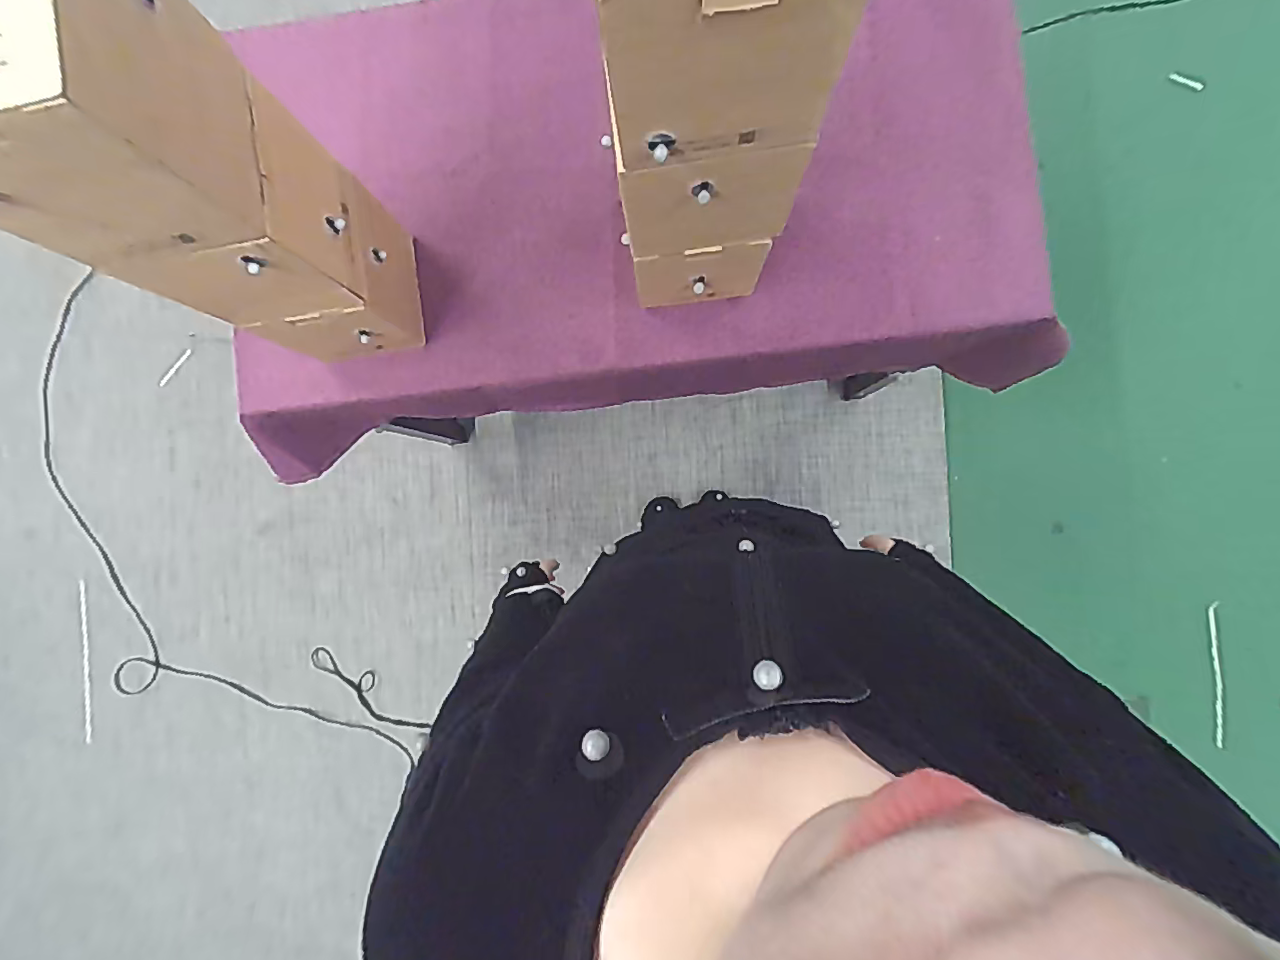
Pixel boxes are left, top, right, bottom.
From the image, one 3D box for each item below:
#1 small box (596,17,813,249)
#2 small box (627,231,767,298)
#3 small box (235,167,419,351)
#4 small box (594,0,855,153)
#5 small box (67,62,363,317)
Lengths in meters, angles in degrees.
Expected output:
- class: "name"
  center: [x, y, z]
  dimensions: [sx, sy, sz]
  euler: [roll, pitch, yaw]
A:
- class: "small box"
  center: [0.060, -0.354, 0.548]
  dimensions: [0.179, 0.176, 0.168]
  euler: [-6, 89, 3]
- class: "small box"
  center: [0.066, -0.352, 0.713]
  dimensions: [0.168, 0.176, 0.179]
  euler: [-6, 89, 3]
- class: "small box"
  center: [-0.419, -0.283, 0.737]
  dimensions: [0.168, 0.176, 0.179]
  euler: [-7, 88, 2]
- class: "small box"
  center: [0.051, -0.364, 0.383]
  dimensions: [0.168, 0.176, 0.179]
  euler: [-7, 87, 3]
- class: "small box"
  center: [-0.431, -0.288, 0.575]
  dimensions: [0.179, 0.176, 0.168]
  euler: [-9, 88, 1]
